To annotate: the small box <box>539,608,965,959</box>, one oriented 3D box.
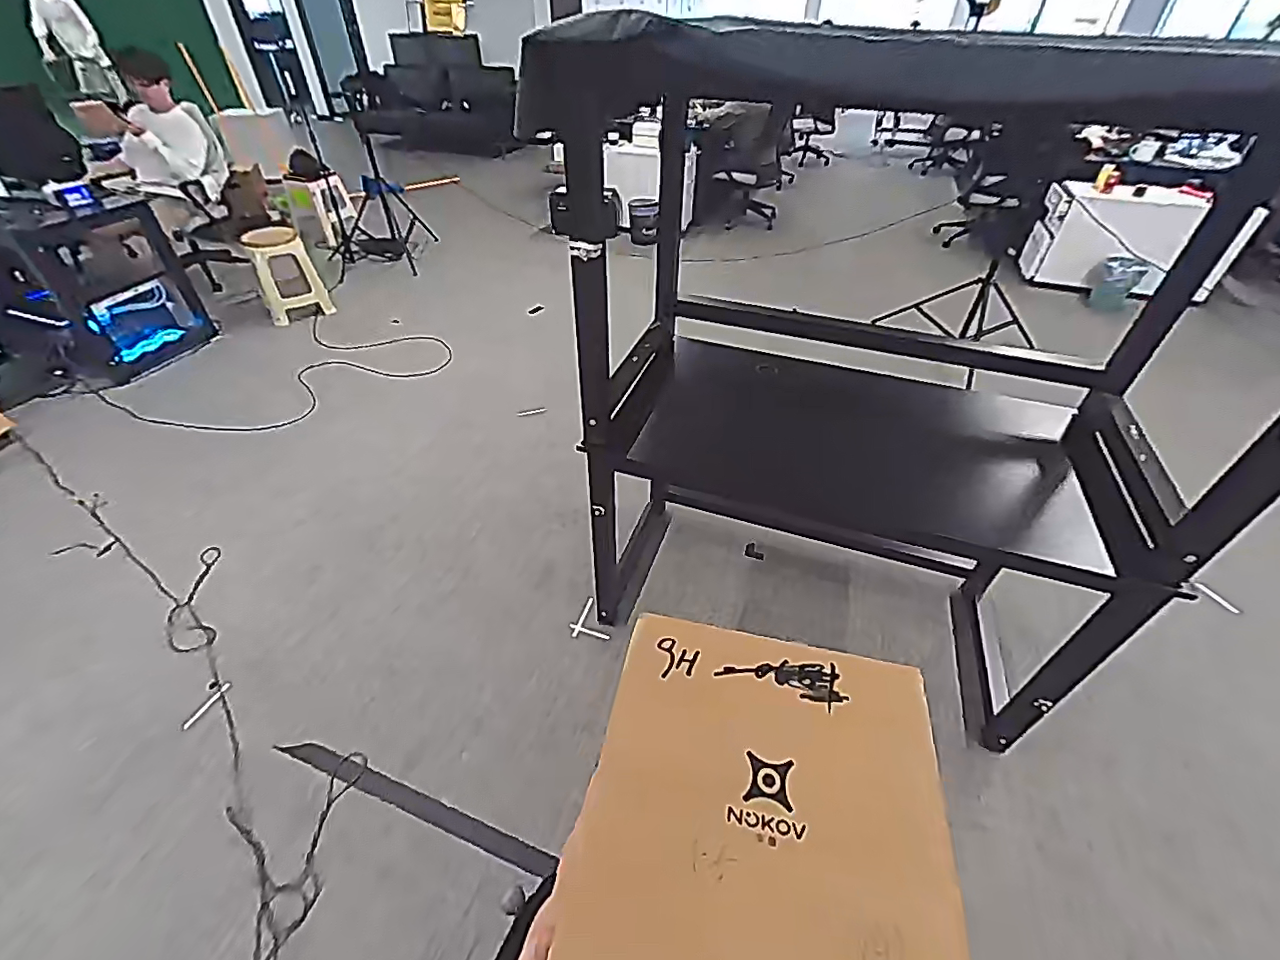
[{"bbox_3d":[0.058,0.206,0.309,0.168,0.176,0.179,10,45,9],"label":"small box"}]
